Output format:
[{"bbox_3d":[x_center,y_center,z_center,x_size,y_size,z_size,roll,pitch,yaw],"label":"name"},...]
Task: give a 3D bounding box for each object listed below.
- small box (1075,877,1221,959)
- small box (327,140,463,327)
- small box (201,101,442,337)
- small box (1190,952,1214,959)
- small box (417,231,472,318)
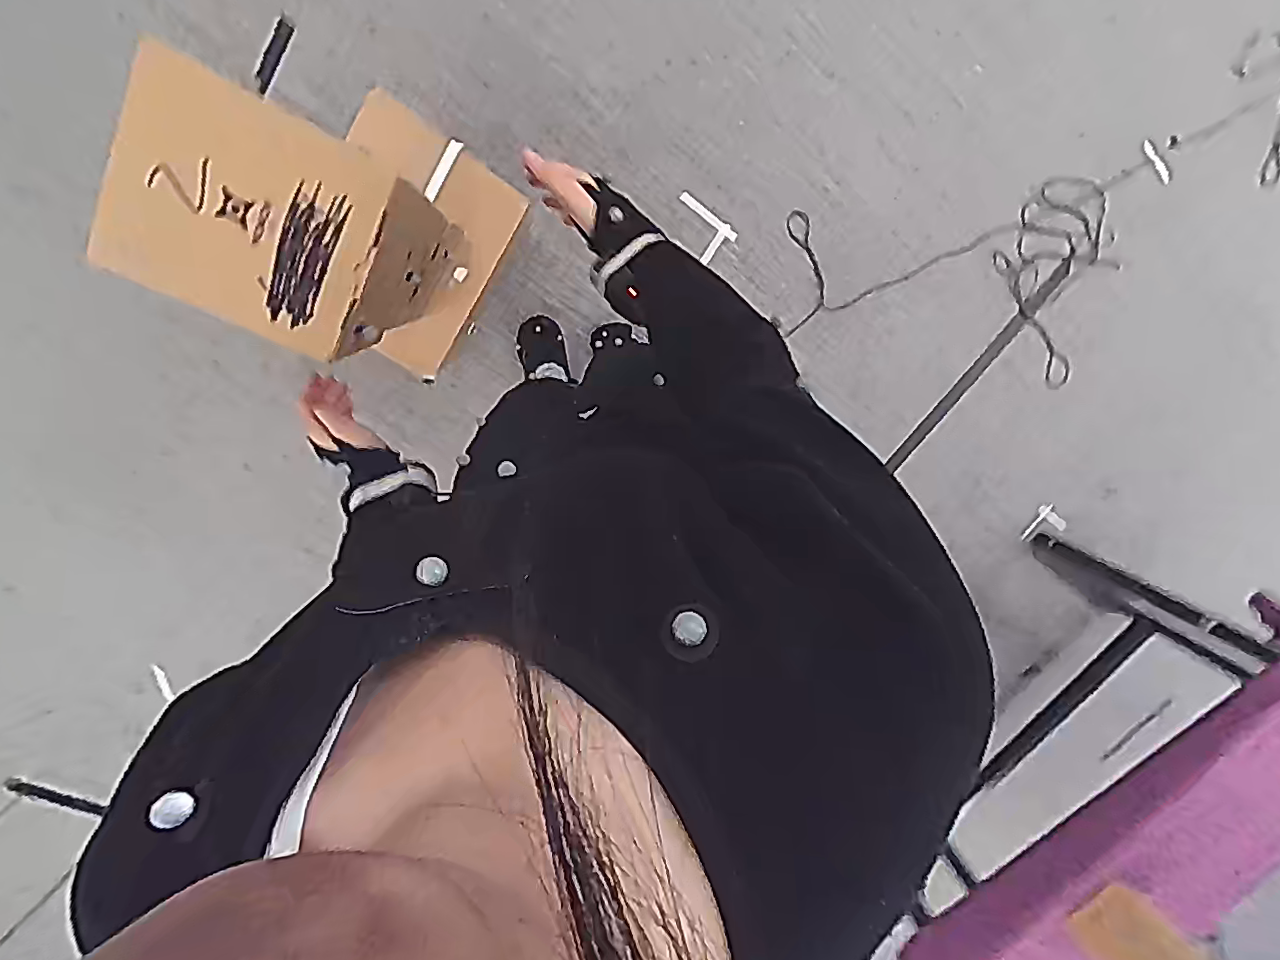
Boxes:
[{"bbox_3d":[1.217,1.106,1.306,0.179,0.176,0.168,33,101,-20],"label":"small box"},{"bbox_3d":[-0.375,-0.345,0.783,0.179,0.176,0.168,28,101,-18],"label":"small box"},{"bbox_3d":[-0.349,-0.287,0.630,0.179,0.176,0.168,24,103,-18],"label":"small box"},{"bbox_3d":[1.249,1.164,1.156,0.179,0.176,0.168,34,100,-19],"label":"small box"},{"bbox_3d":[-0.411,-0.399,0.932,0.179,0.176,0.168,29,102,-20],"label":"small box"}]
